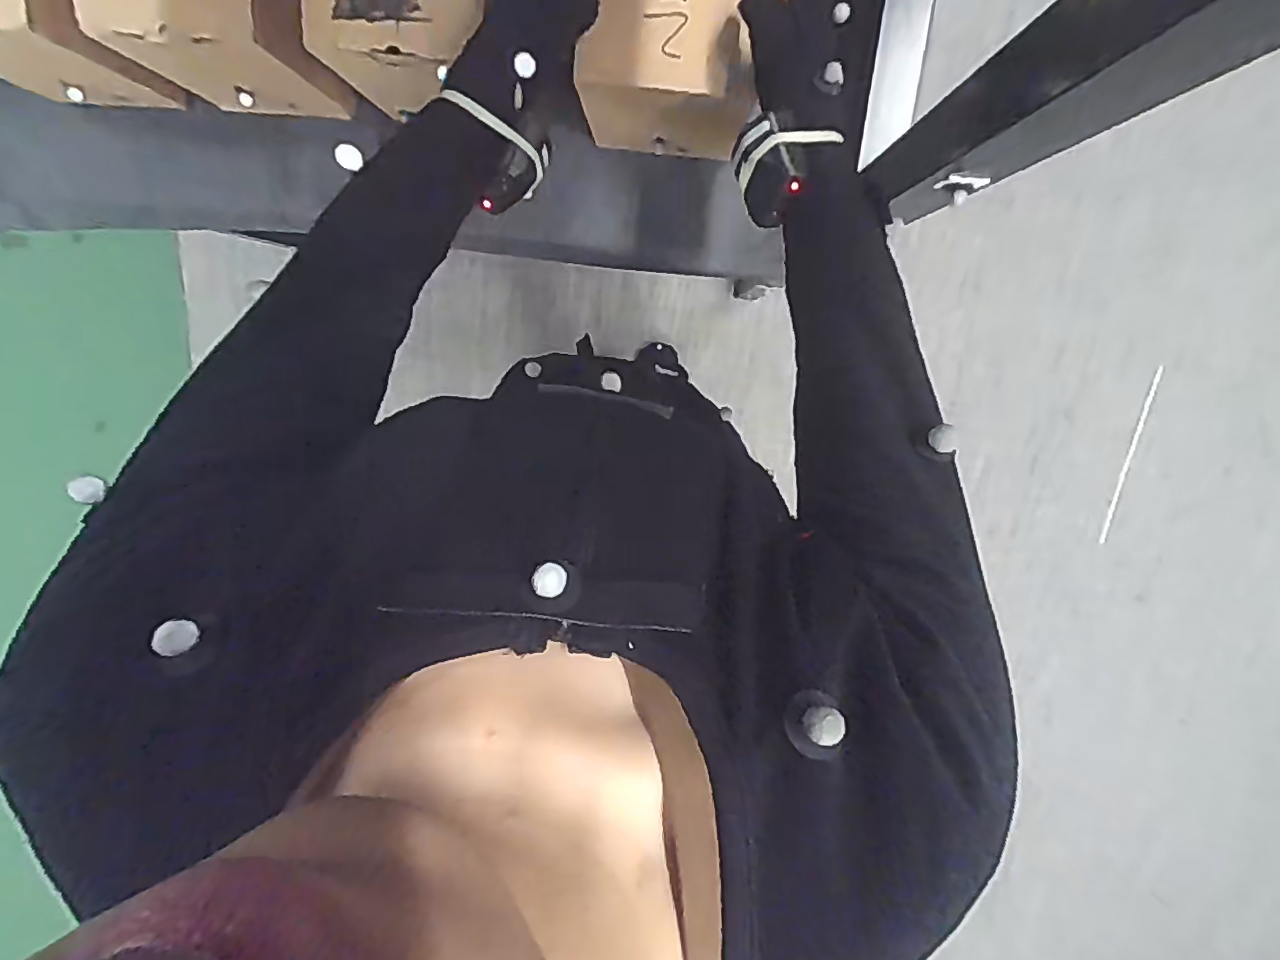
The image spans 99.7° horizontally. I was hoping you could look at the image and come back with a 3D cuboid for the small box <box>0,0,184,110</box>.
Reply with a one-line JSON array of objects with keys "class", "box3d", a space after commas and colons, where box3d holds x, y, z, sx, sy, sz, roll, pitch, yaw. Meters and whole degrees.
[{"class": "small box", "box3d": [-0.619, -0.515, 0.550, 0.168, 0.176, 0.179, 4, 104, 2]}]
